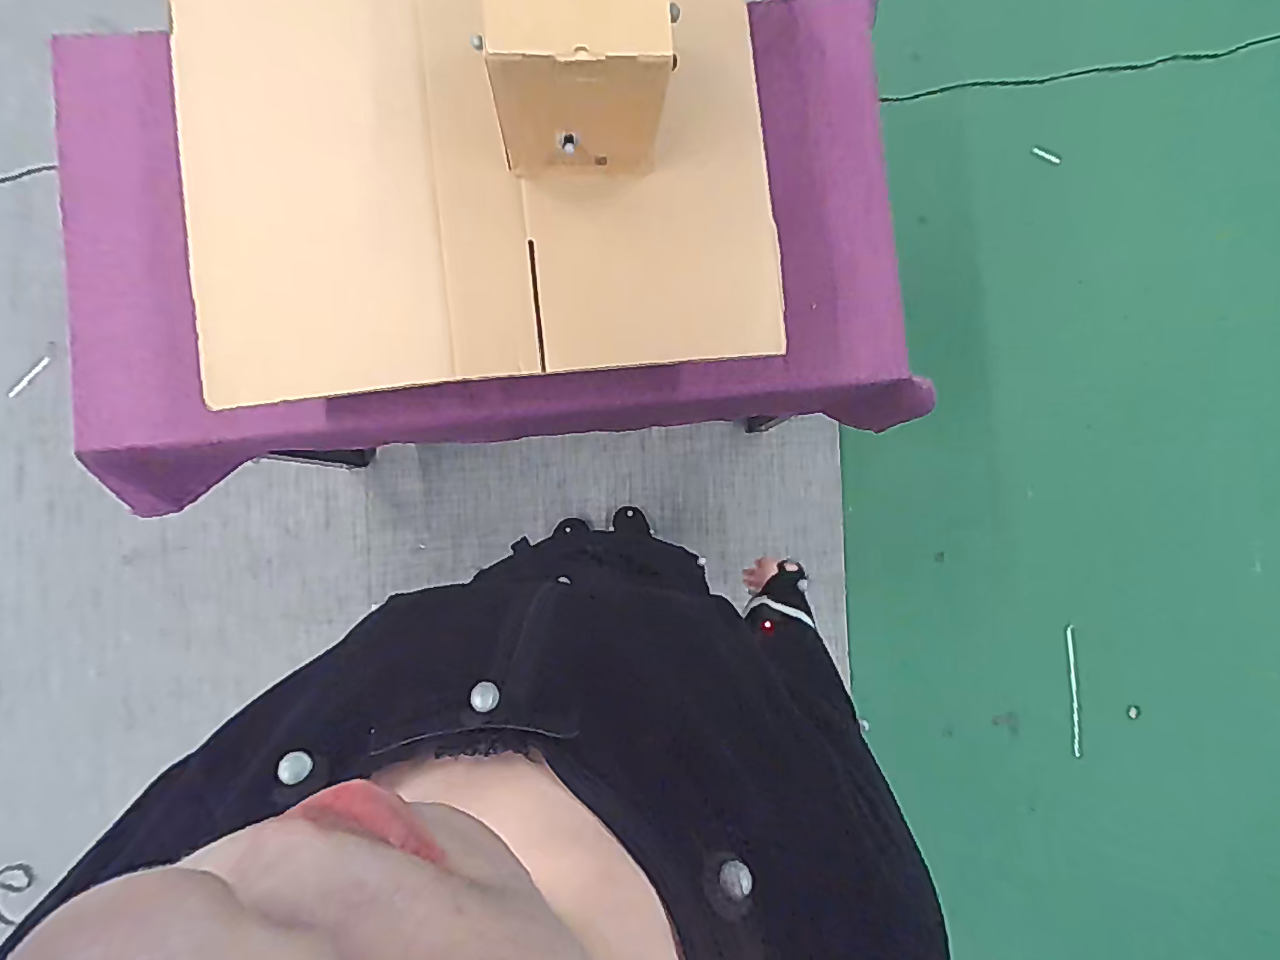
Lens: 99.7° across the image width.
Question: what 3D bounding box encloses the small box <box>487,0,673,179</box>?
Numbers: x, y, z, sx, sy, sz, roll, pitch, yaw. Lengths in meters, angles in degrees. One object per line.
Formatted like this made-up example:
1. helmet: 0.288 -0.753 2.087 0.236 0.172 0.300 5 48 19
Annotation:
1. small box: -0.063 -0.448 0.563 0.168 0.176 0.179 -3 89 -5
